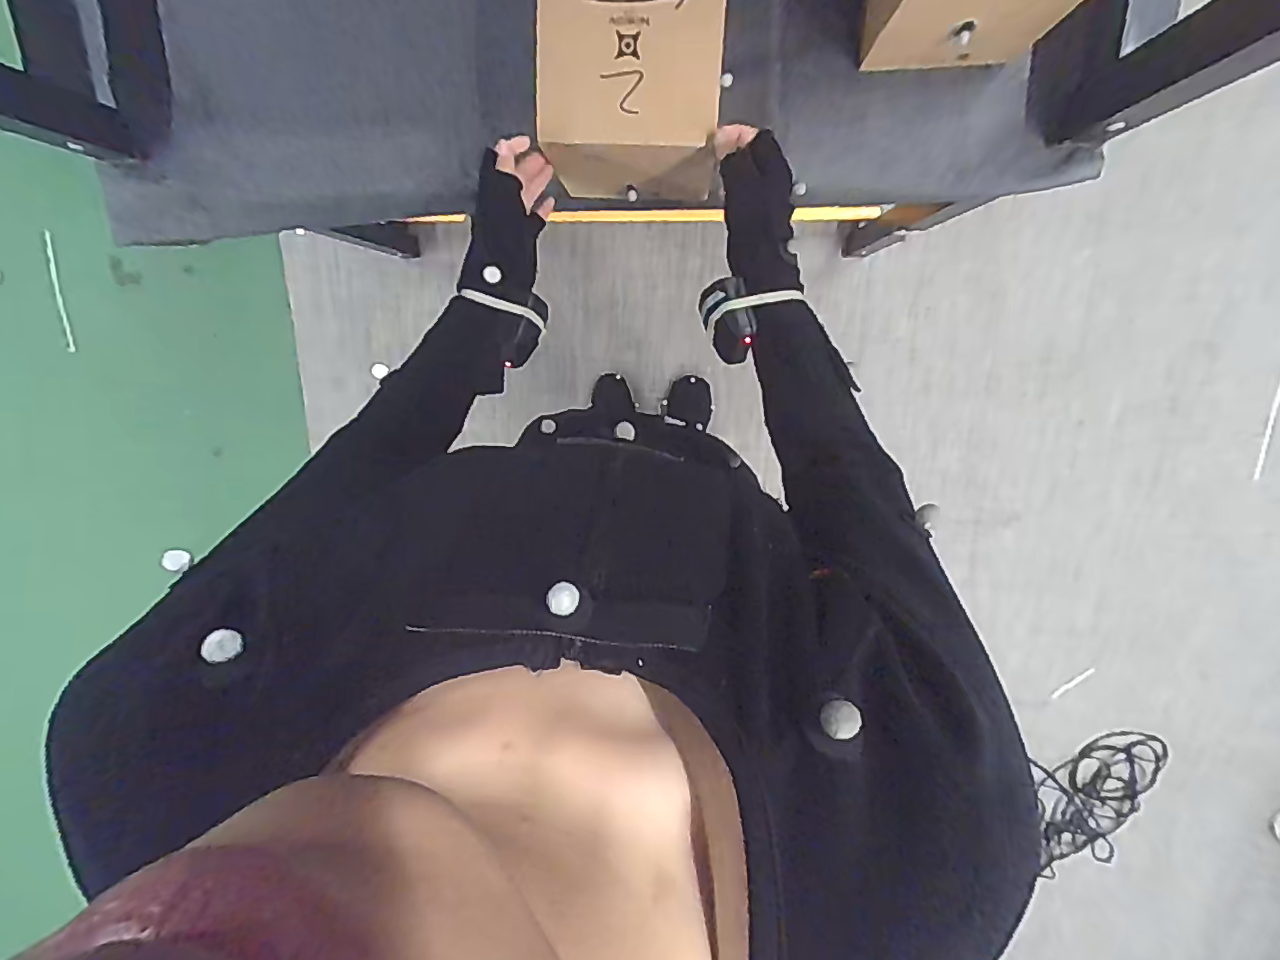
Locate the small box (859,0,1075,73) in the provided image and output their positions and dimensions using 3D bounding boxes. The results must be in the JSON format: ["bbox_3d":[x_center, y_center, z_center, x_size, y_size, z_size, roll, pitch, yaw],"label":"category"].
[{"bbox_3d":[0.318,-0.515,0.508,0.168,0.176,0.179,0,103,3],"label":"small box"}]
